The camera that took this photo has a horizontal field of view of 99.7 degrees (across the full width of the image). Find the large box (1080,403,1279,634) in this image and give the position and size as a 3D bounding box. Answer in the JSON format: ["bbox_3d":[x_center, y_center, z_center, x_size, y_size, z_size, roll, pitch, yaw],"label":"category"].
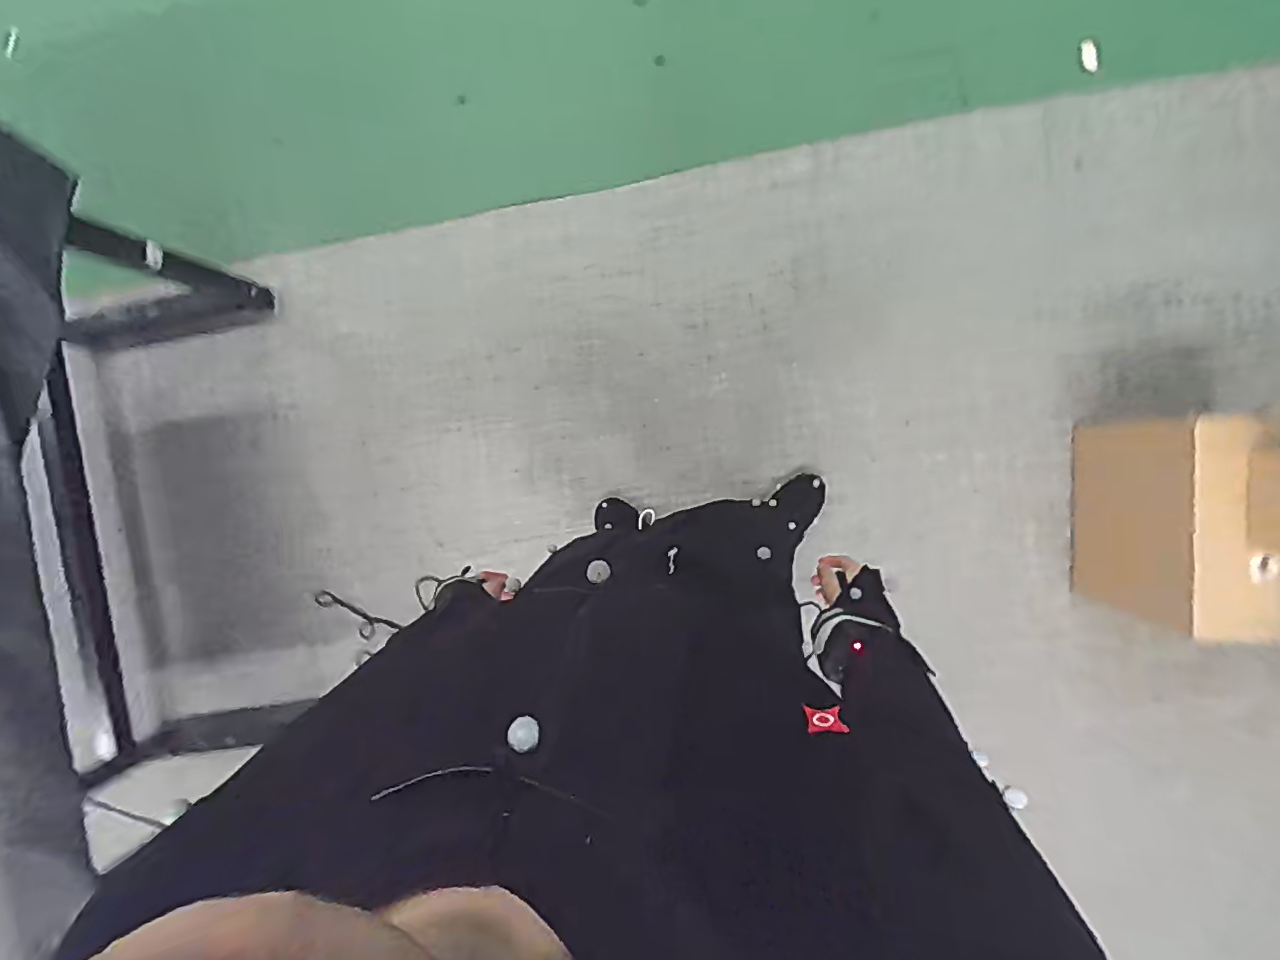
[{"bbox_3d":[1.154,0.058,1.085,0.320,0.320,0.408,-3,94,7],"label":"large box"}]
